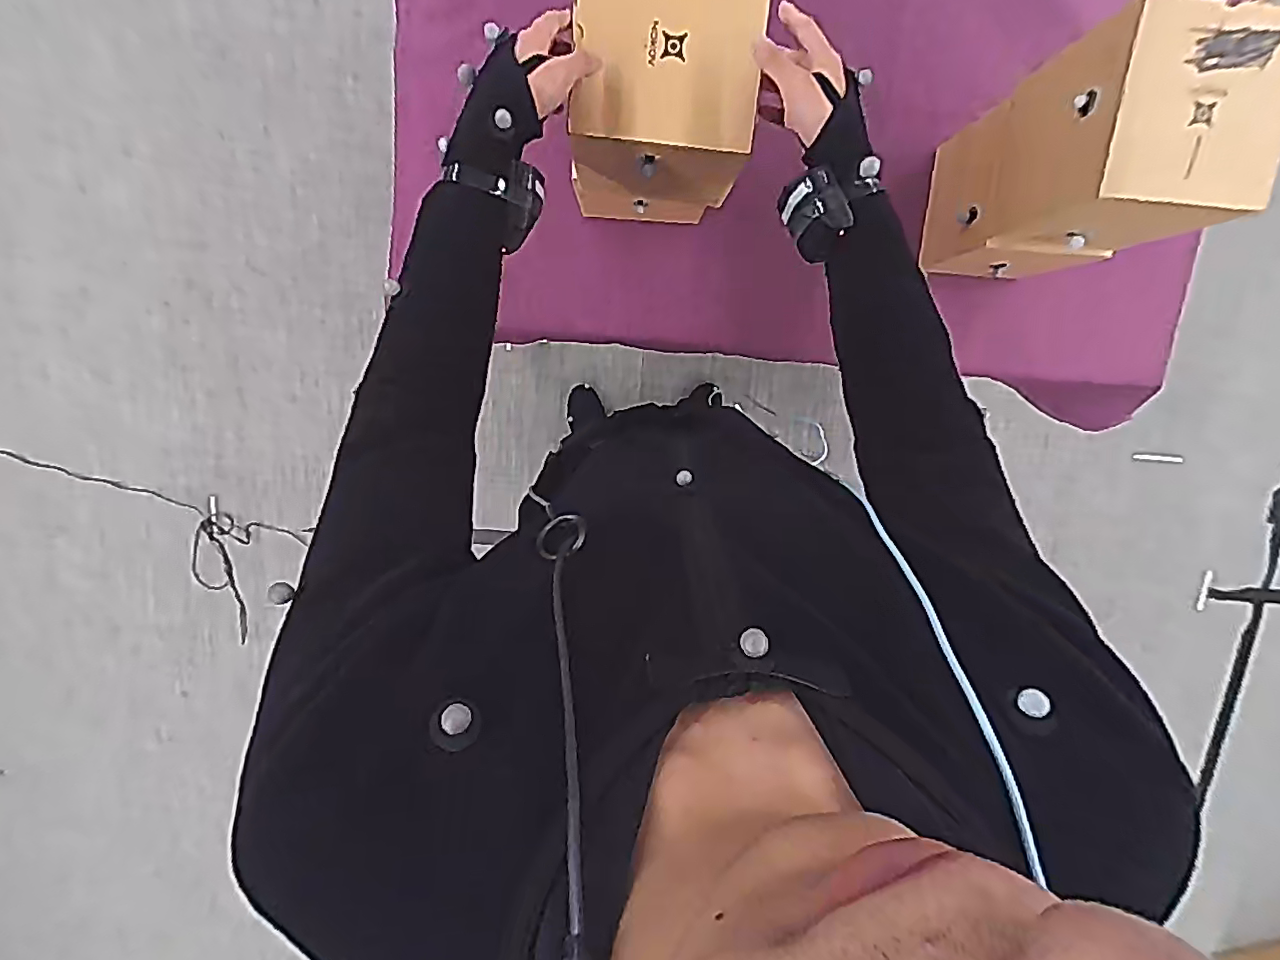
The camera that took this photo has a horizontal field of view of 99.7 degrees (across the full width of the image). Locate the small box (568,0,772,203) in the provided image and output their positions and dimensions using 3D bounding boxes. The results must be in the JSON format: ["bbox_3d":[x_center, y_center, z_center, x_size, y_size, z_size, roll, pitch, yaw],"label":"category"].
[{"bbox_3d":[0.025,-0.407,0.569,0.179,0.176,0.168,5,101,-2],"label":"small box"}]

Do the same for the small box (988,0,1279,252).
[{"bbox_3d":[0.520,-0.364,0.588,0.168,0.176,0.179,5,102,-2],"label":"small box"}]

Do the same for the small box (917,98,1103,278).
[{"bbox_3d":[0.515,-0.388,0.751,0.168,0.176,0.179,4,101,-3],"label":"small box"}]
